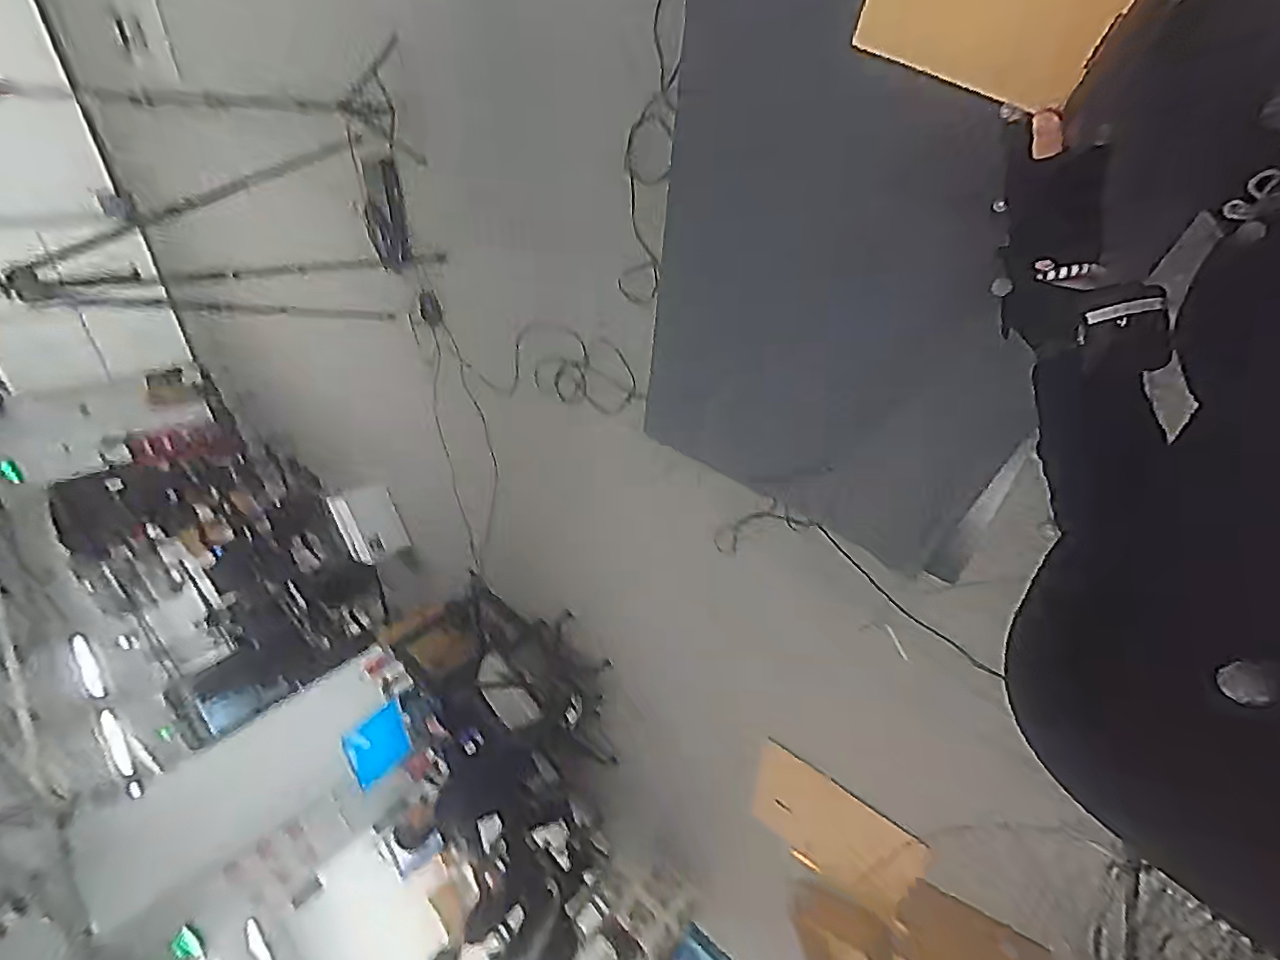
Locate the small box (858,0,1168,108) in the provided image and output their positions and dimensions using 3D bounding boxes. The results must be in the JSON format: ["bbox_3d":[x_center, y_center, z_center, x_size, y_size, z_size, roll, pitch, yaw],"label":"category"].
[{"bbox_3d":[0.305,-0.406,0.395,0.179,0.176,0.168,39,146,19],"label":"small box"}]
